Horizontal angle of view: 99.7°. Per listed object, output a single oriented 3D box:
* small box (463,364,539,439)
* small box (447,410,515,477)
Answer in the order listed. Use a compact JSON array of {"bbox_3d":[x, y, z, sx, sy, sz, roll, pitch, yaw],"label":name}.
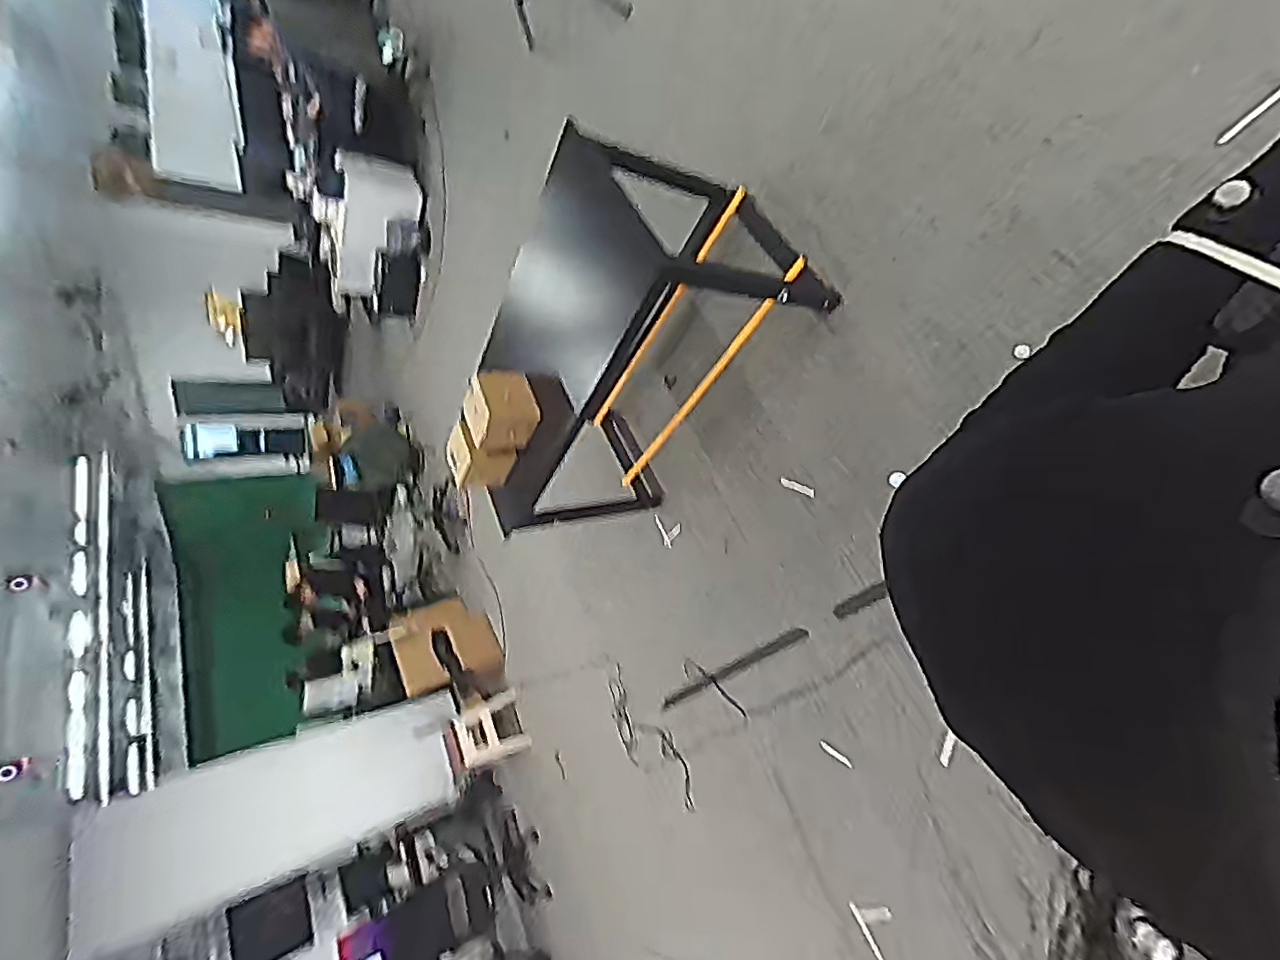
[{"bbox_3d":[-0.442,-0.253,1.727,0.168,0.176,0.179,-49,58,44],"label":"small box"},{"bbox_3d":[-0.554,-0.128,1.888,0.179,0.176,0.168,-50,58,43],"label":"small box"}]
